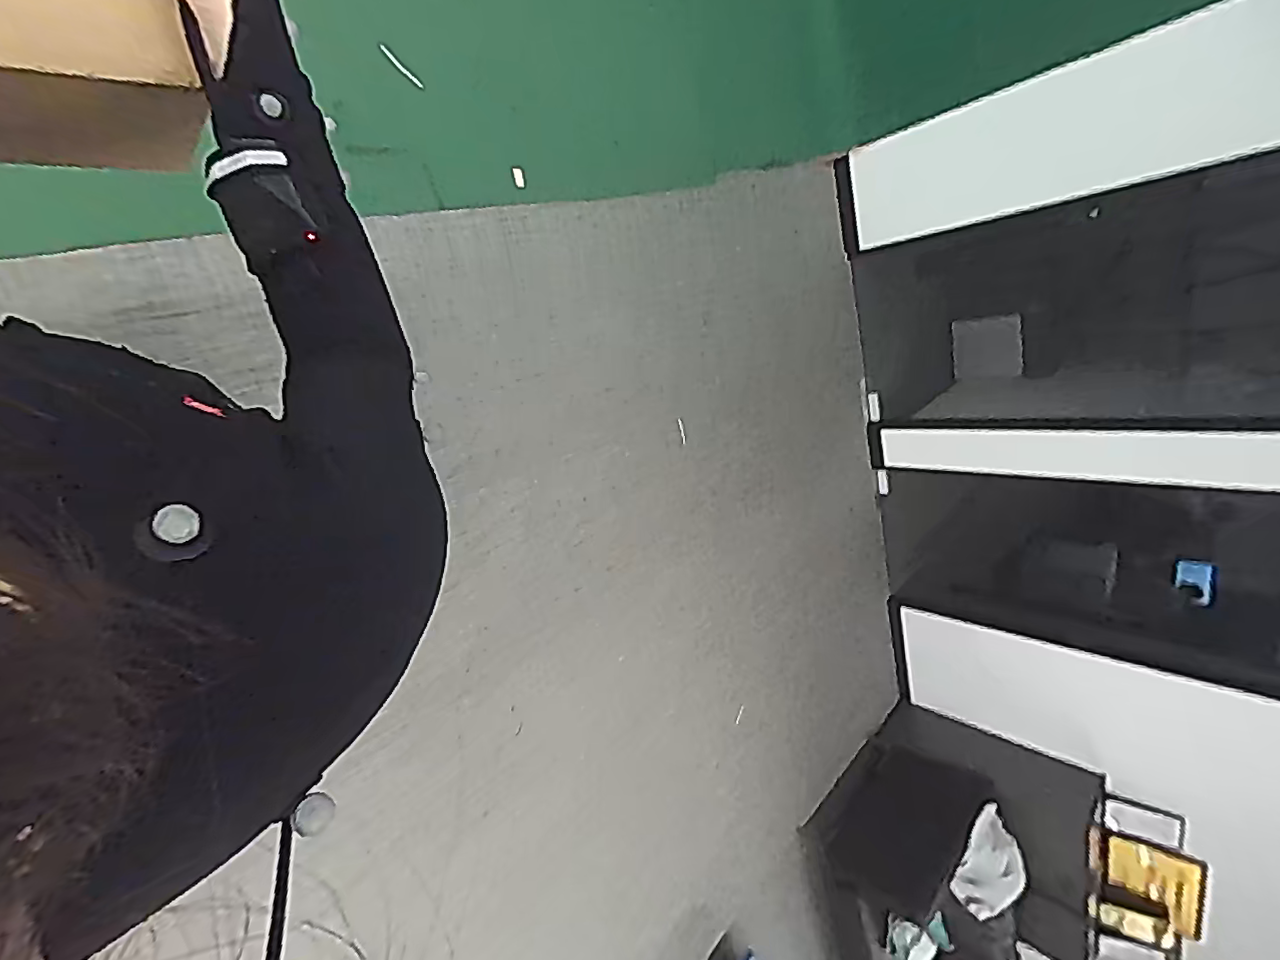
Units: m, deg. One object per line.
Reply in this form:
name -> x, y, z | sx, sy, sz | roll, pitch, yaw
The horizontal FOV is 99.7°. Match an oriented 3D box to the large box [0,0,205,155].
large box -> -0.562, -0.398, 0.318 | 0.408, 0.320, 0.320 | -21, 117, -36
